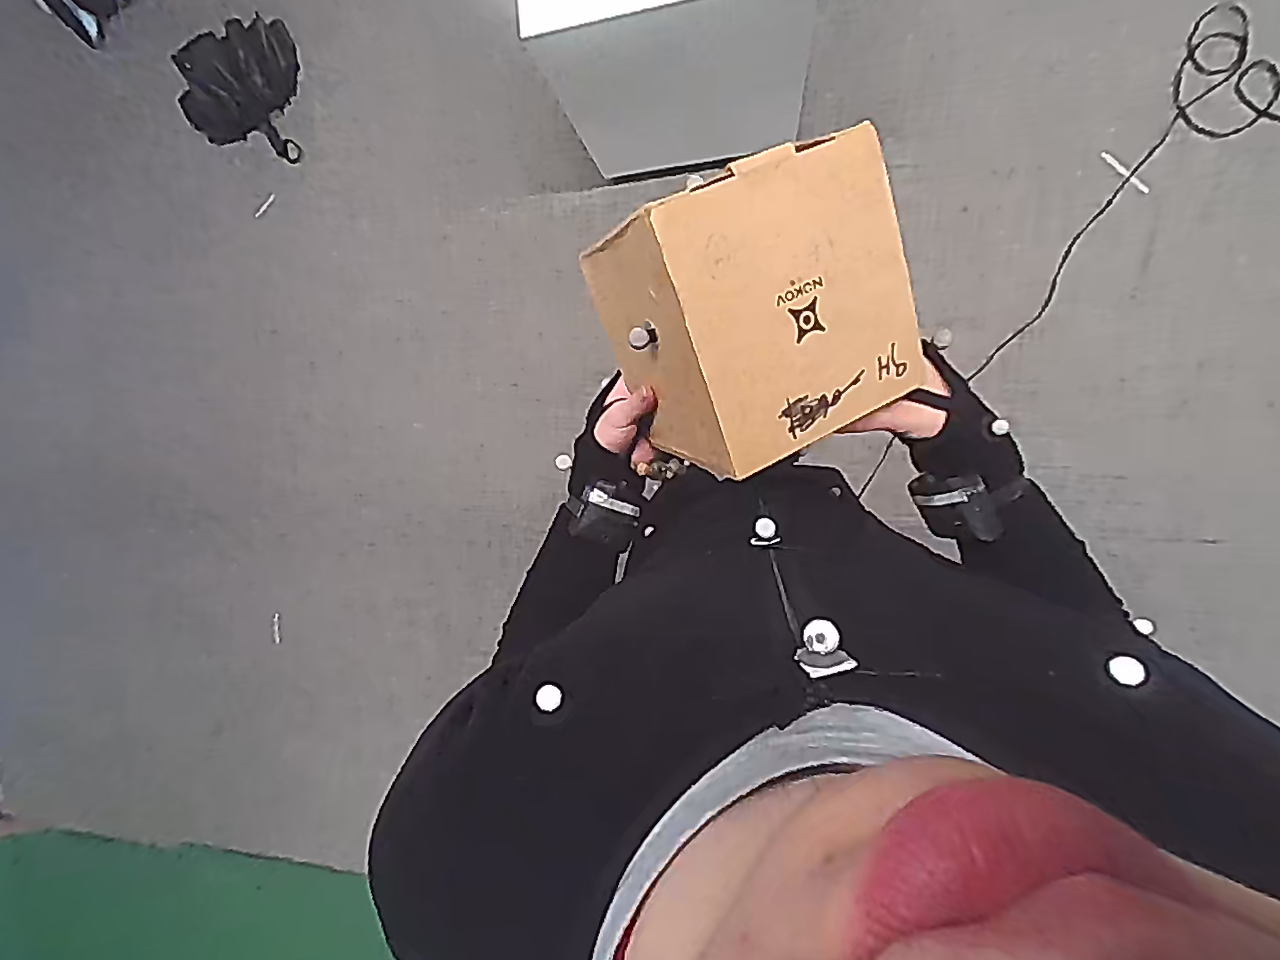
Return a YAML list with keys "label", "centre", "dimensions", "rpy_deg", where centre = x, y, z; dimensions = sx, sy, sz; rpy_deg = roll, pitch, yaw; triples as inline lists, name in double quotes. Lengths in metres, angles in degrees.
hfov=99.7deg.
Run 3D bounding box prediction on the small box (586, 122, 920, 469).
- label: "small box"
  centre: [0.075, -0.131, 0.419]
  dimensions: [0.168, 0.176, 0.179]
  rpy_deg: [-26, 110, -12]
